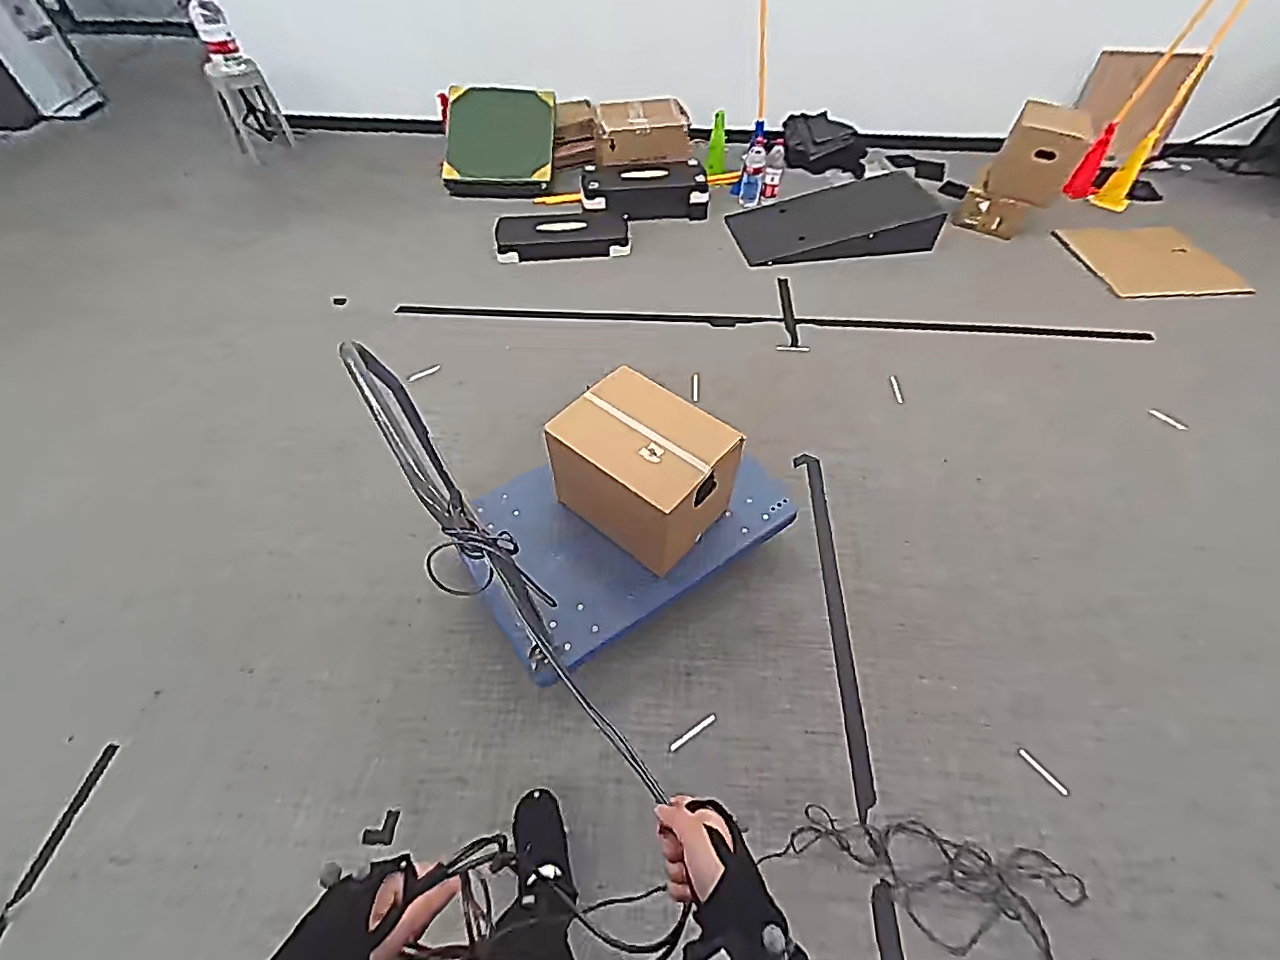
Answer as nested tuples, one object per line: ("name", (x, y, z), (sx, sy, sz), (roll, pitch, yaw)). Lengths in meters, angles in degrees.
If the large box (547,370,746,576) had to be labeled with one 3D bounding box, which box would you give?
("large box", (0.010, -0.022, 1.452), (0.408, 0.320, 0.320), (35, 61, 22))
